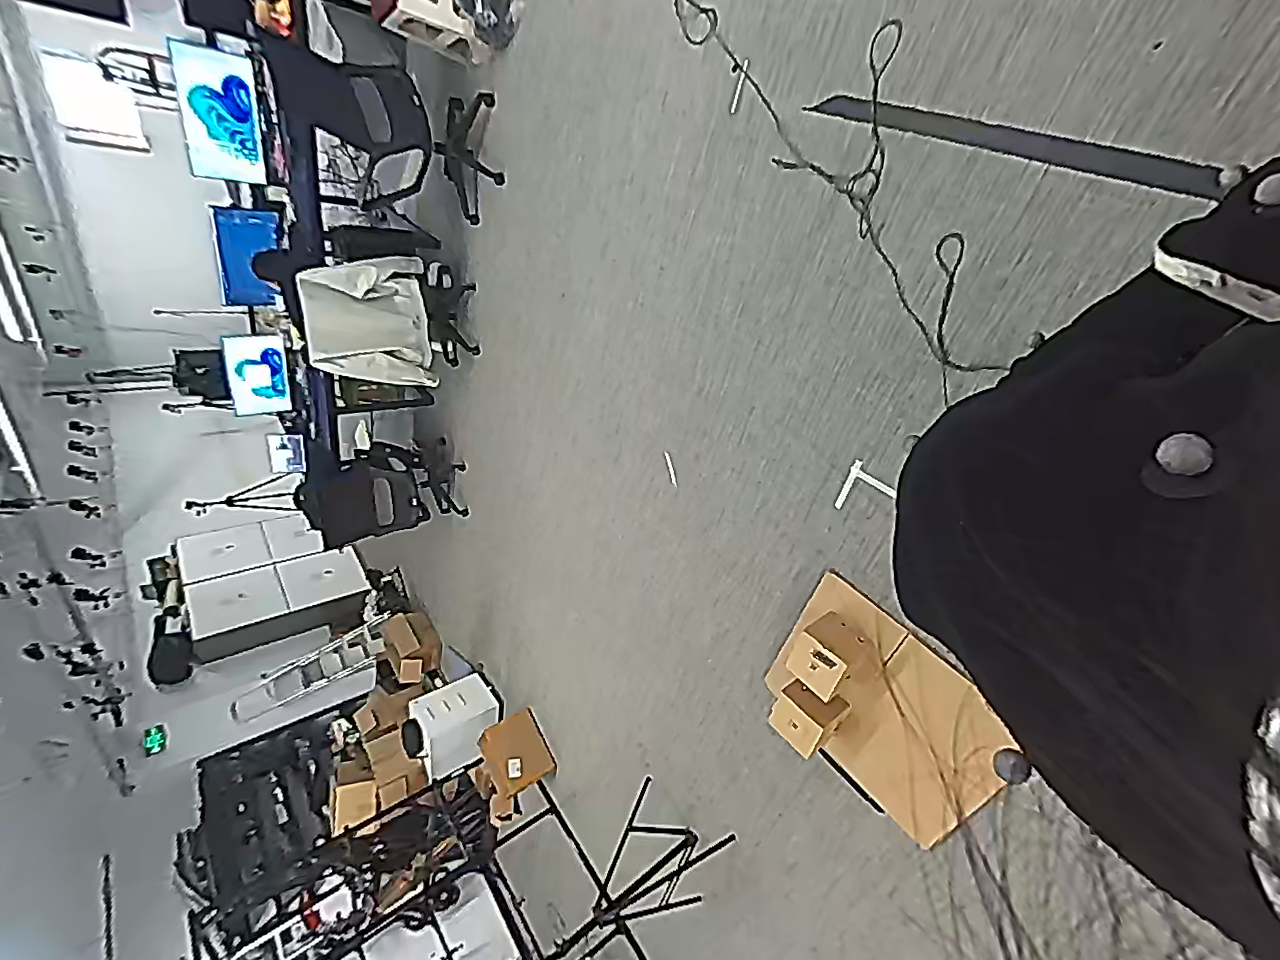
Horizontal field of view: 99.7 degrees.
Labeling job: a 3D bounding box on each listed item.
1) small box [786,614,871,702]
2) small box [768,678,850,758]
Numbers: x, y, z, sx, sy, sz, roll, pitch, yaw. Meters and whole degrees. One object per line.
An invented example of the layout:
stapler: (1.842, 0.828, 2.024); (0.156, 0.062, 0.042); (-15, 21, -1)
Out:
small box: (0.602, 0.556, 1.715); (0.168, 0.176, 0.179); (39, 129, 37)
small box: (0.572, 0.787, 1.829); (0.179, 0.176, 0.168); (36, 128, 38)
